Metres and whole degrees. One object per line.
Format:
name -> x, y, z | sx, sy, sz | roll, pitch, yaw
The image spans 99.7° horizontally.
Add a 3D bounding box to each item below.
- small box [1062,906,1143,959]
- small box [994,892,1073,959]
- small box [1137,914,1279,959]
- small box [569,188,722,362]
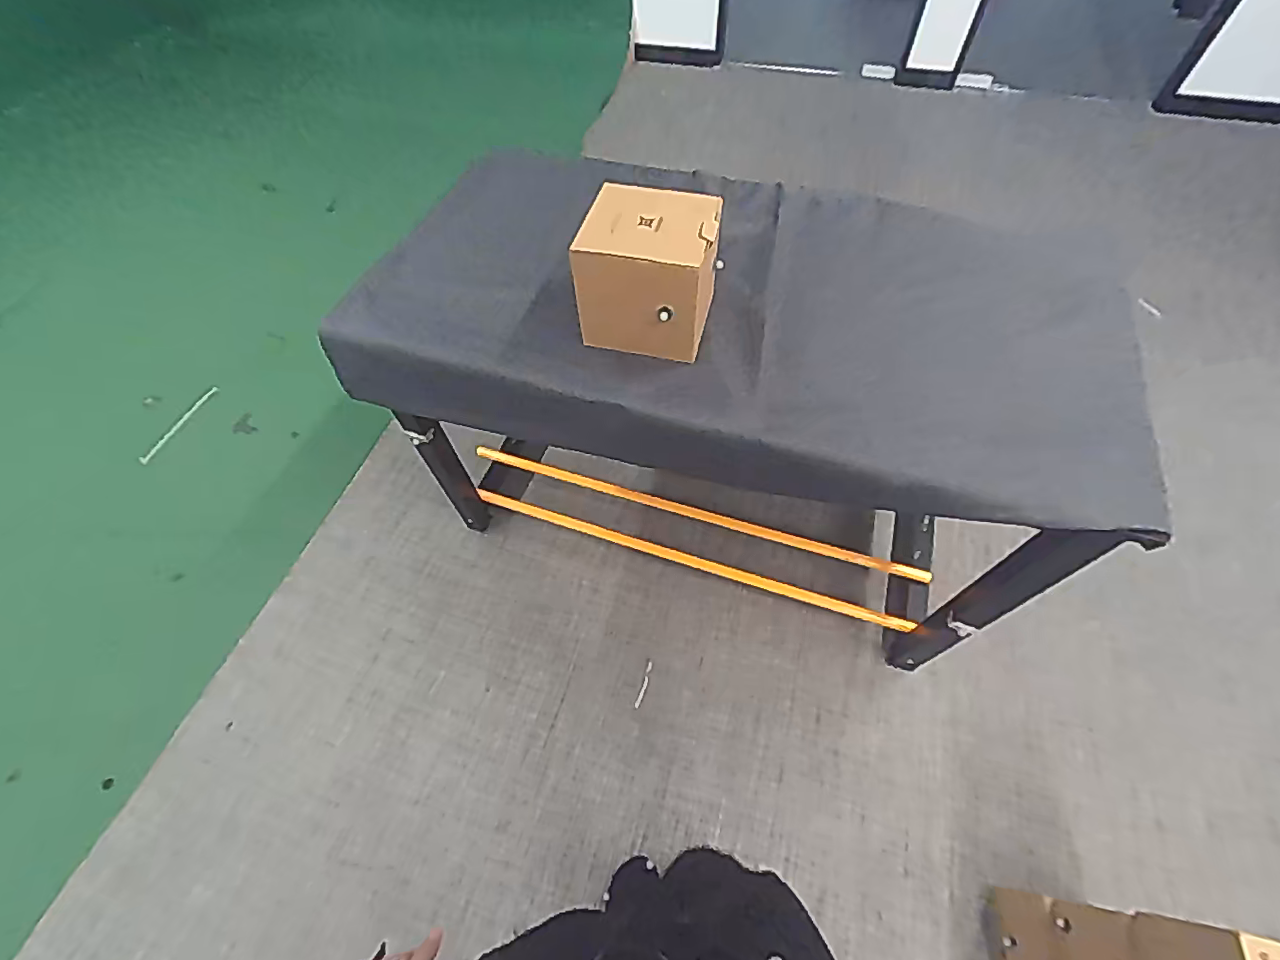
small box -> 0.748, 0.739, 0.774 | 0.179, 0.176, 0.168 | 11, 59, 8
small box -> 0.741, 0.823, 0.915 | 0.179, 0.176, 0.168 | 10, 58, 9
small box -> 0.747, 0.651, 0.635 | 0.168, 0.176, 0.179 | 11, 60, 8
small box -> 0.013, -0.295, 0.795 | 0.179, 0.176, 0.168 | 11, 57, 10
